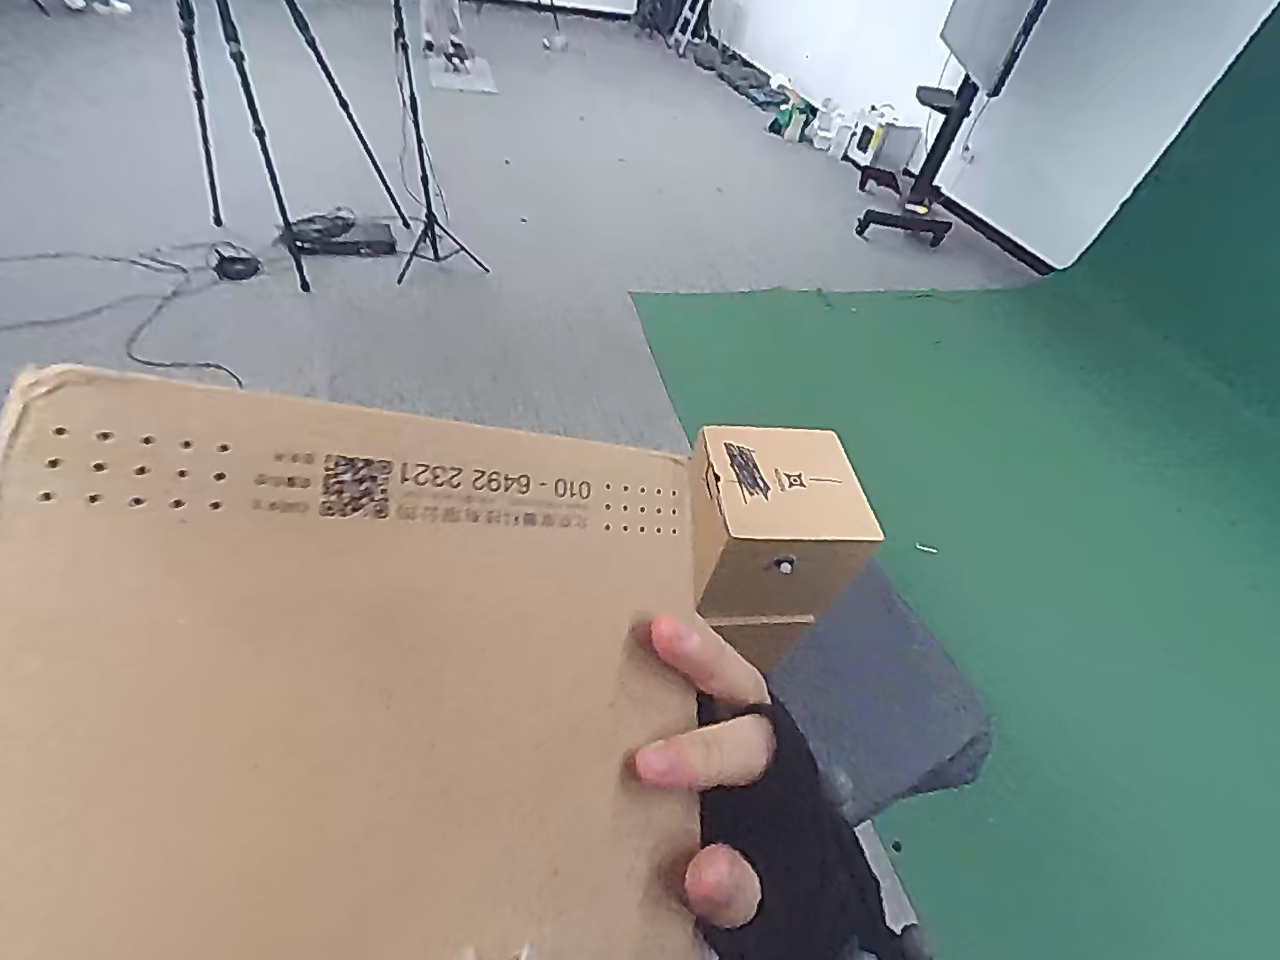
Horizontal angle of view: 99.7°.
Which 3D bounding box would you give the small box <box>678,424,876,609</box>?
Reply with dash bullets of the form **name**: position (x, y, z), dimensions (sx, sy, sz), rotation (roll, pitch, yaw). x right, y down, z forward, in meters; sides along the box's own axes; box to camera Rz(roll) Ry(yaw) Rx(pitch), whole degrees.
- **small box**: position (0.150, 0.049, 0.671), dimensions (0.179, 0.176, 0.168), rotation (1, 50, -10)
